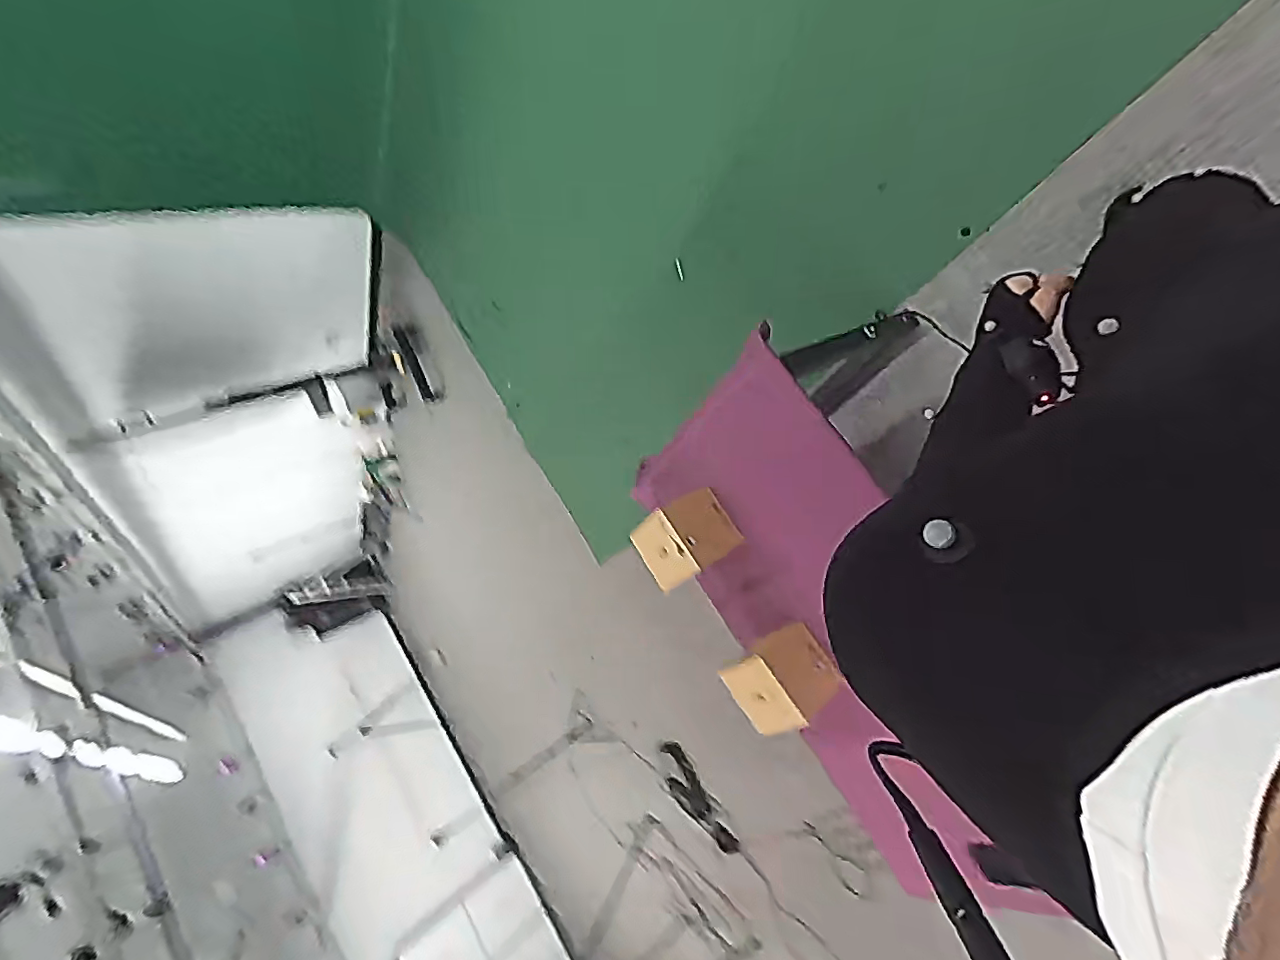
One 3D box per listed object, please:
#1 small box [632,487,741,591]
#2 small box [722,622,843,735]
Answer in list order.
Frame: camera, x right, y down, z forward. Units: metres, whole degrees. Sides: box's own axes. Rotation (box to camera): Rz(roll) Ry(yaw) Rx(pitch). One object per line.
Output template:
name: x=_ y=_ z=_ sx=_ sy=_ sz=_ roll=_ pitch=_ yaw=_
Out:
small box: x=0.116 y=0.145 z=1.335 sx=0.168 sy=0.176 sz=0.179 roll=56 pitch=143 yaw=11
small box: x=0.331 y=0.458 z=1.253 sx=0.168 sy=0.176 sz=0.179 roll=55 pitch=142 yaw=13
